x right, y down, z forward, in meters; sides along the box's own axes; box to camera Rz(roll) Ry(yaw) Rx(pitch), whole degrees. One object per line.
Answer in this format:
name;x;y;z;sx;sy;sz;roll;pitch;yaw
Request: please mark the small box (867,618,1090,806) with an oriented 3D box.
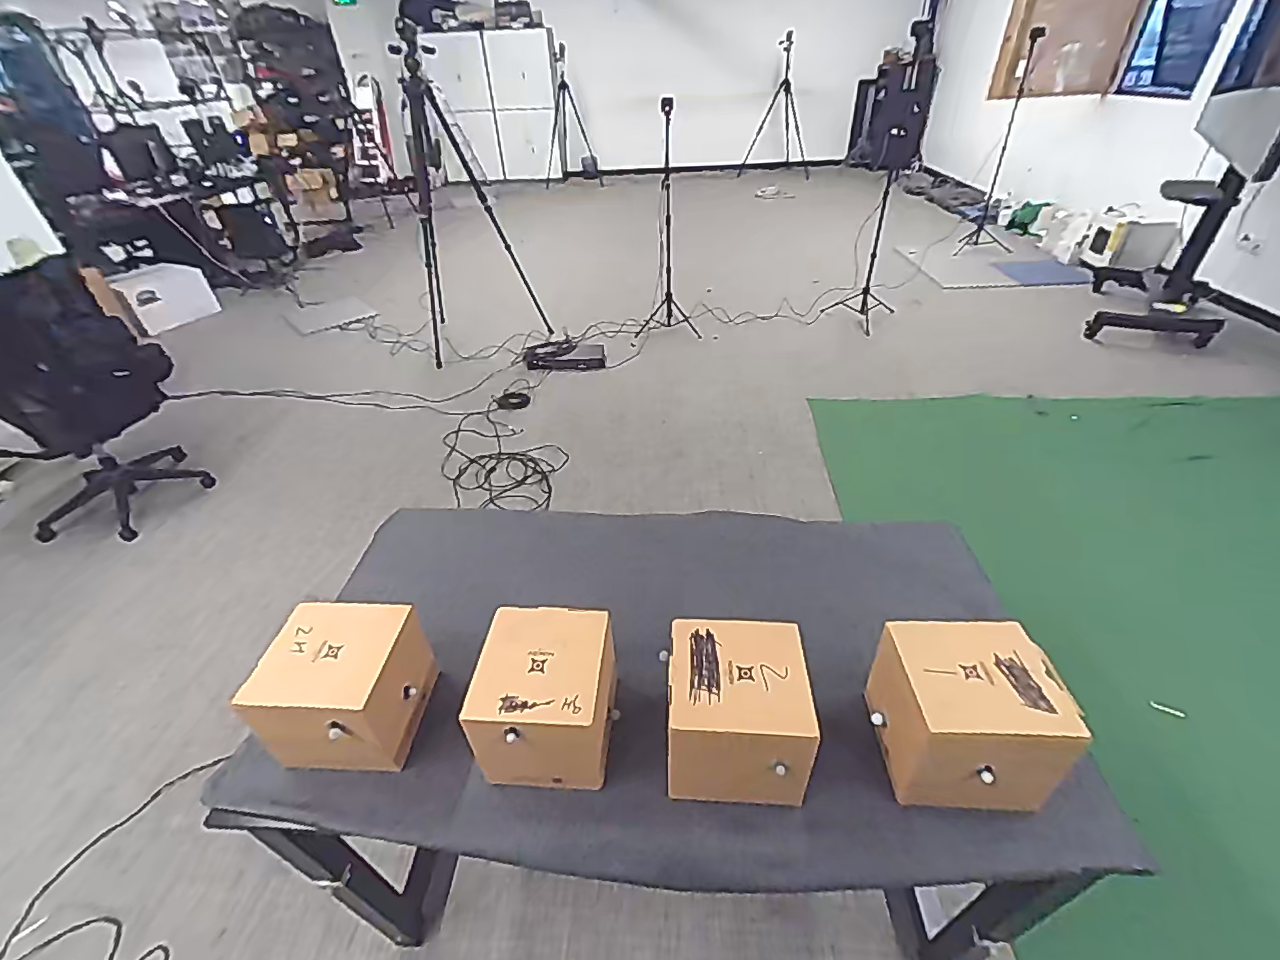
small box;0.419;0.302;0.707;0.179;0.176;0.168;-1;34;6
